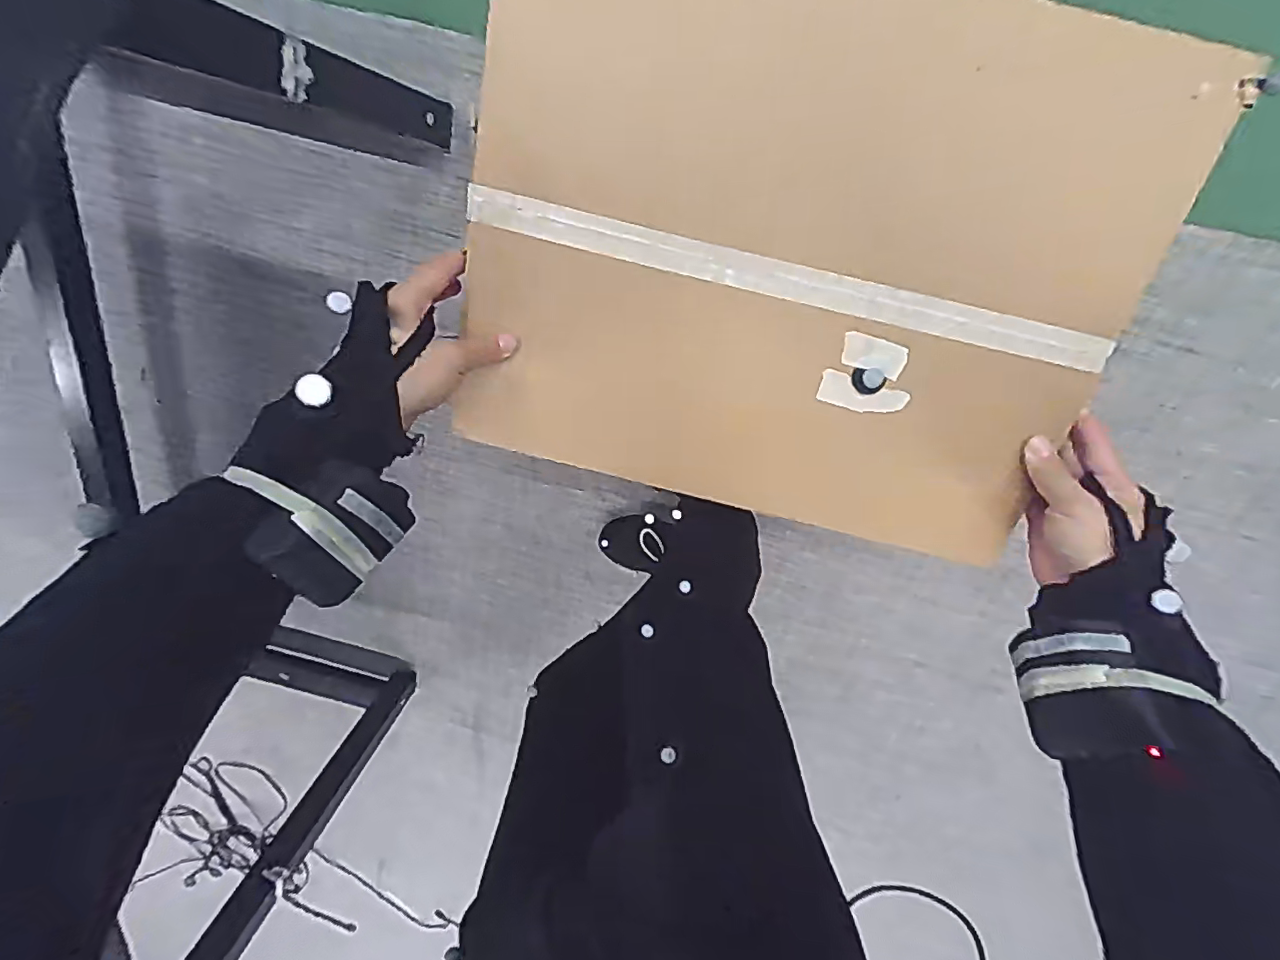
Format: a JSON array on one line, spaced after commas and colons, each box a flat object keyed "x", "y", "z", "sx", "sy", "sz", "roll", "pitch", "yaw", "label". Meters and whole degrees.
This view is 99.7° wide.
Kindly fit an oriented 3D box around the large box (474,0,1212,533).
[{"x": 0.106, "y": -0.190, "z": 0.491, "sx": 0.408, "sy": 0.320, "sz": 0.320, "roll": 13, "pitch": 112, "yaw": -1, "label": "large box"}]
